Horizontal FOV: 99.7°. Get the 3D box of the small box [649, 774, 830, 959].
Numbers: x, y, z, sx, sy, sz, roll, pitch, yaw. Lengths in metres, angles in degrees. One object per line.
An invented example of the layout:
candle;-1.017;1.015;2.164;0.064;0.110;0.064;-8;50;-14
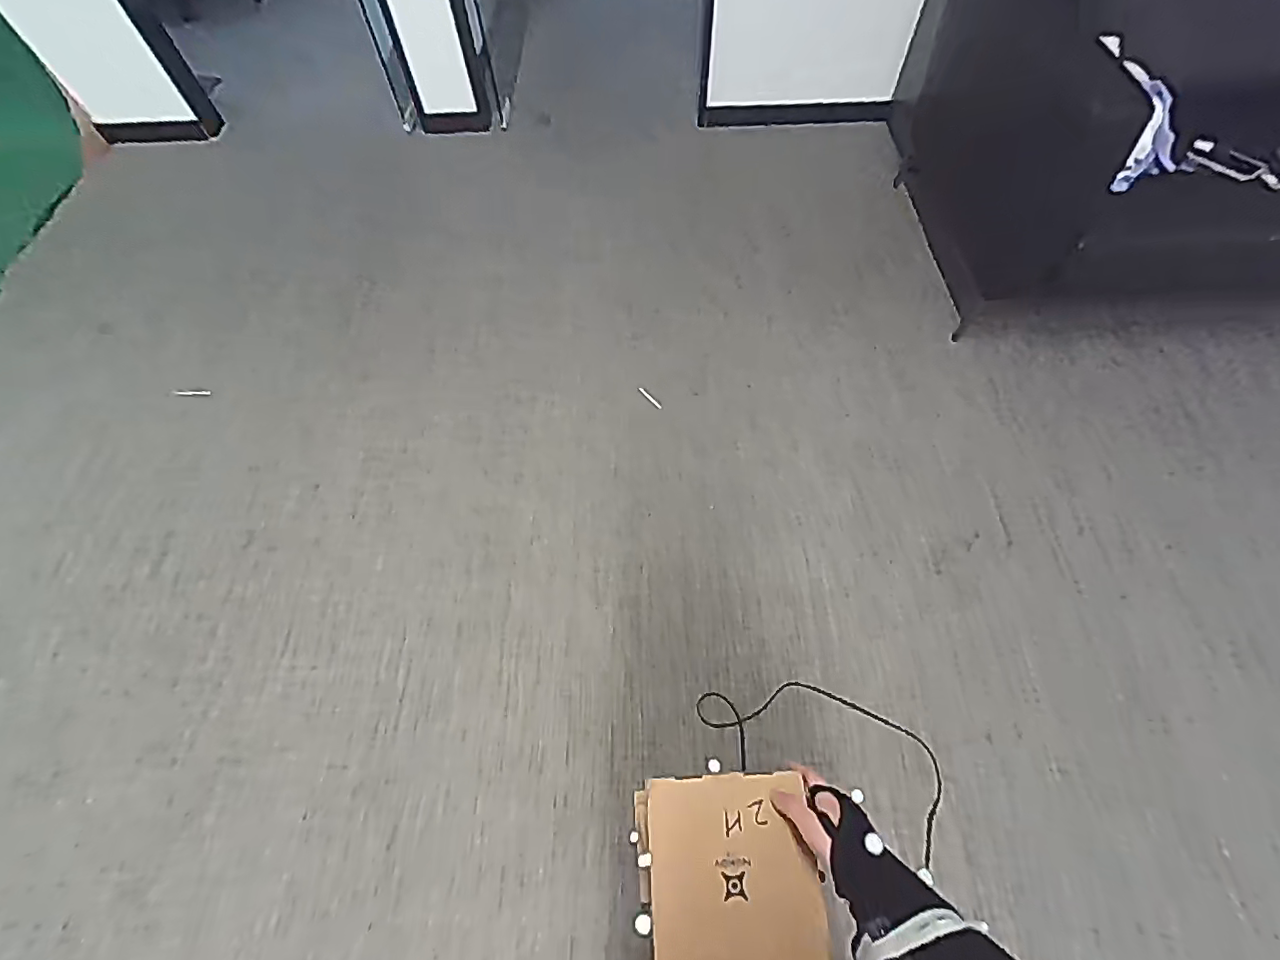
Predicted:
small box;0.099;0.431;0.604;0.168;0.176;0.179;-4;60;1
